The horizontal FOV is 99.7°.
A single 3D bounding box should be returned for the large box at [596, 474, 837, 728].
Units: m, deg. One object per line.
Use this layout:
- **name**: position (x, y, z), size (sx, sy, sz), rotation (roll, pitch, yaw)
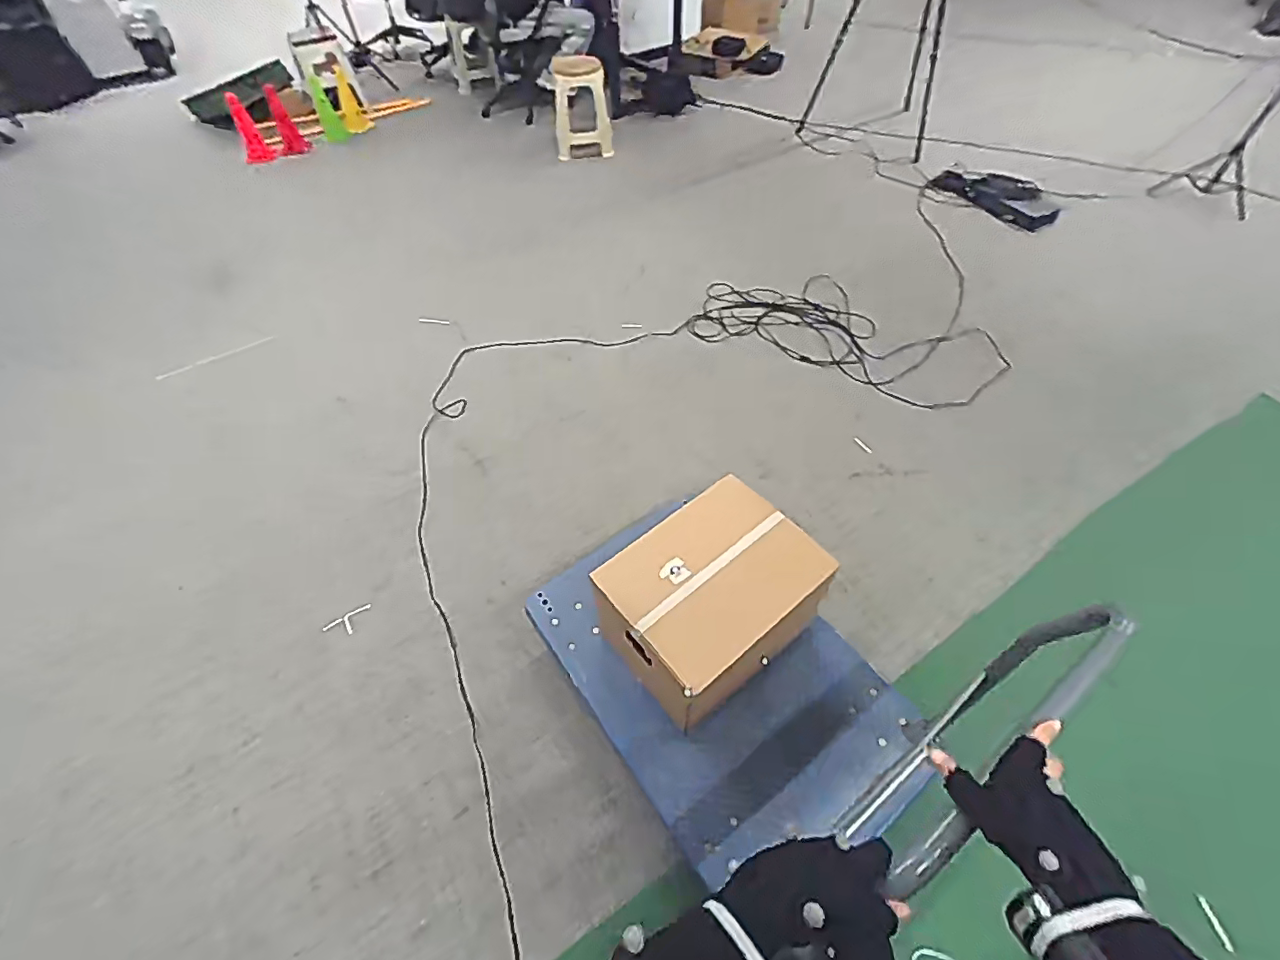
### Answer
- **large box**: position (0.160, 0.267, 1.210), size (0.408, 0.320, 0.320), rotation (-34, 58, -21)
